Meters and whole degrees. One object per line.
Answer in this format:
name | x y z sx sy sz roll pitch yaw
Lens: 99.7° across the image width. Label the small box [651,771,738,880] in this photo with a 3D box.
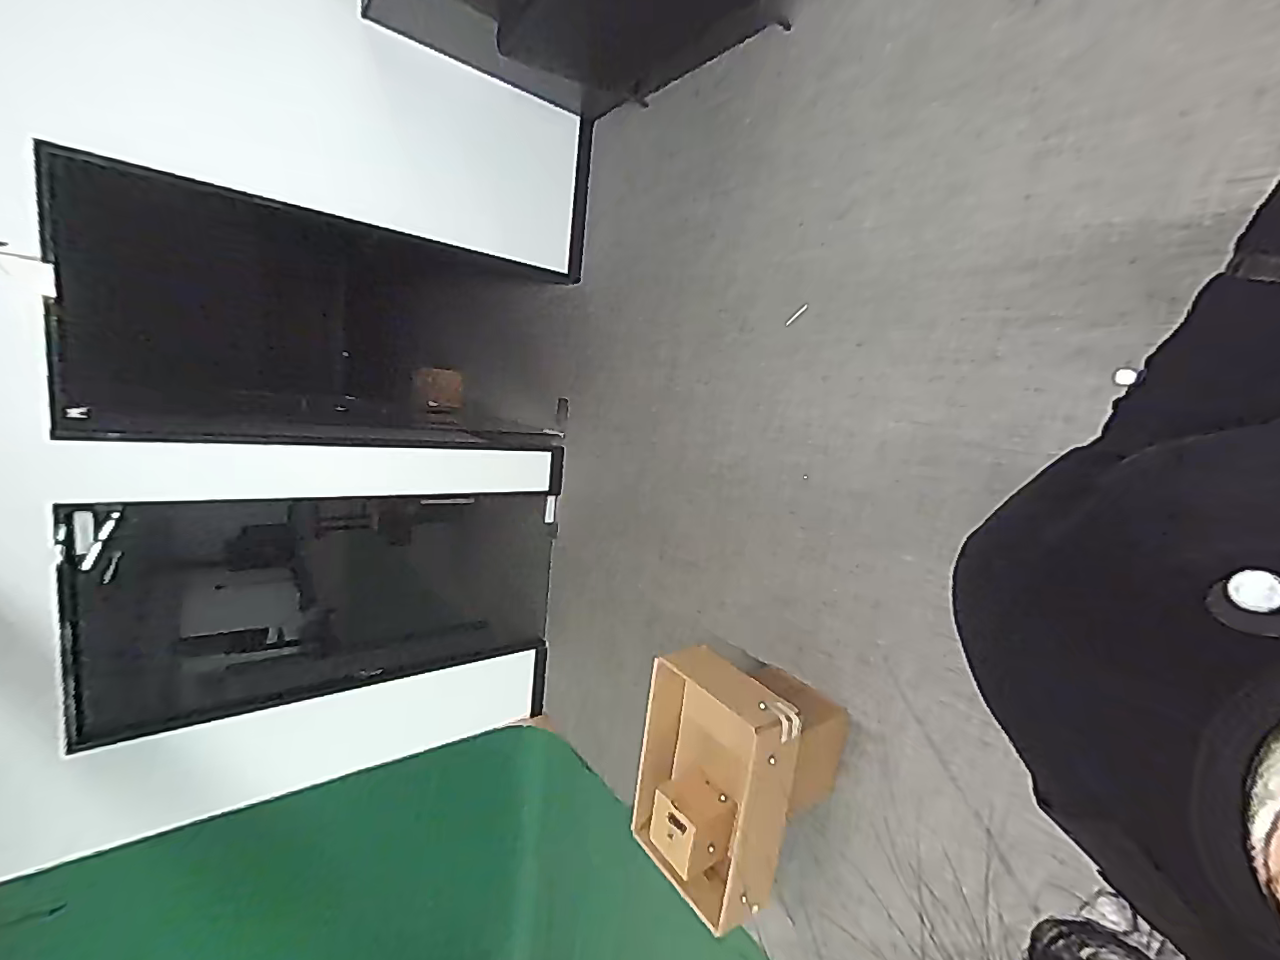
small box | 0.158 0.975 1.547 0.168 0.176 0.179 22 107 51
